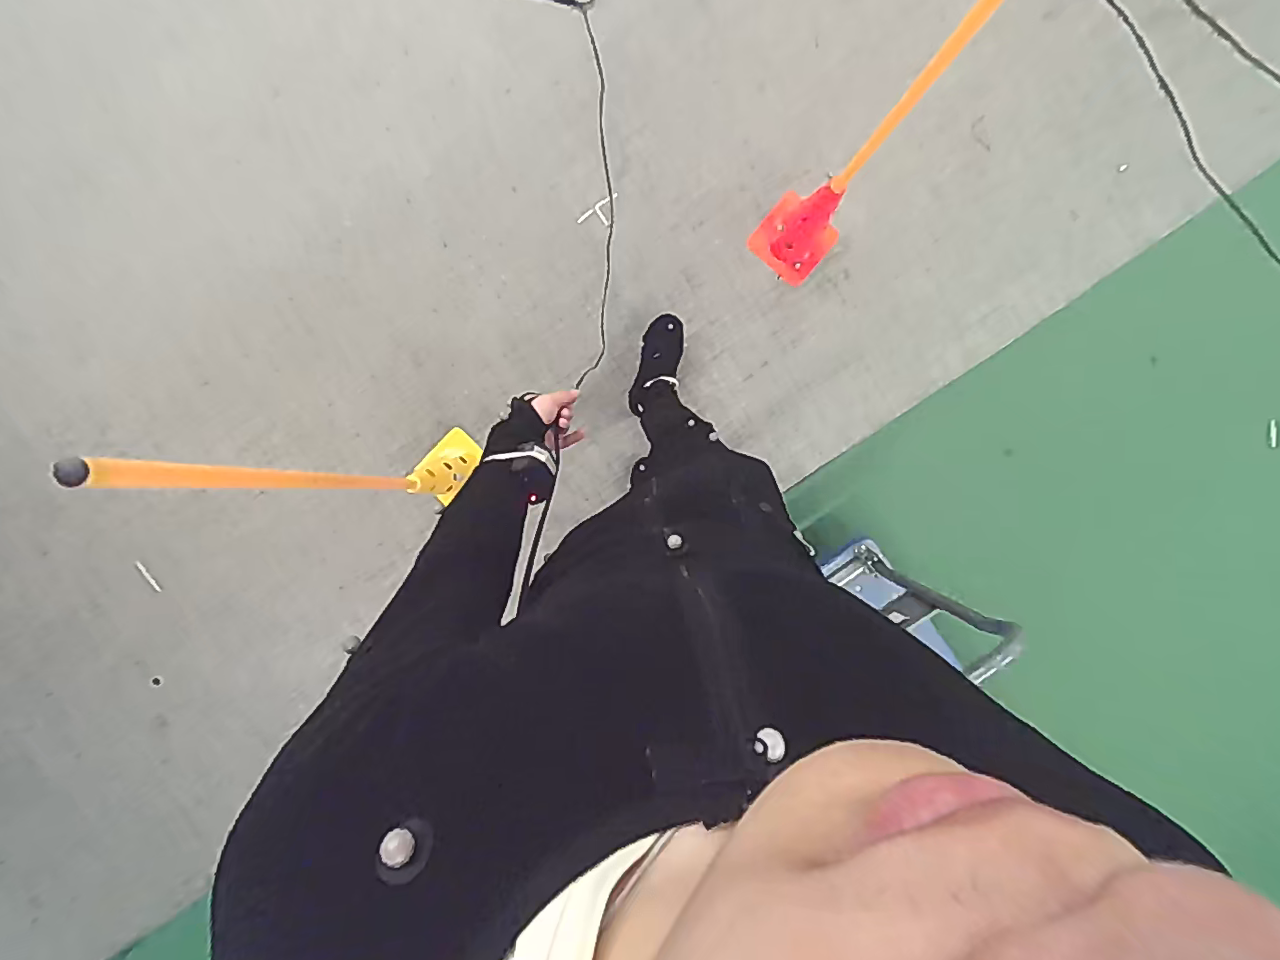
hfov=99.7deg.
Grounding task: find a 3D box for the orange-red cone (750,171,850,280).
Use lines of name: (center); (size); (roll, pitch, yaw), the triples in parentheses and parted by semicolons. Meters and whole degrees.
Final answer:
orange-red cone: (0.443, -0.682, 1.366); (0.198, 0.360, 0.199); (41, 93, -5)
